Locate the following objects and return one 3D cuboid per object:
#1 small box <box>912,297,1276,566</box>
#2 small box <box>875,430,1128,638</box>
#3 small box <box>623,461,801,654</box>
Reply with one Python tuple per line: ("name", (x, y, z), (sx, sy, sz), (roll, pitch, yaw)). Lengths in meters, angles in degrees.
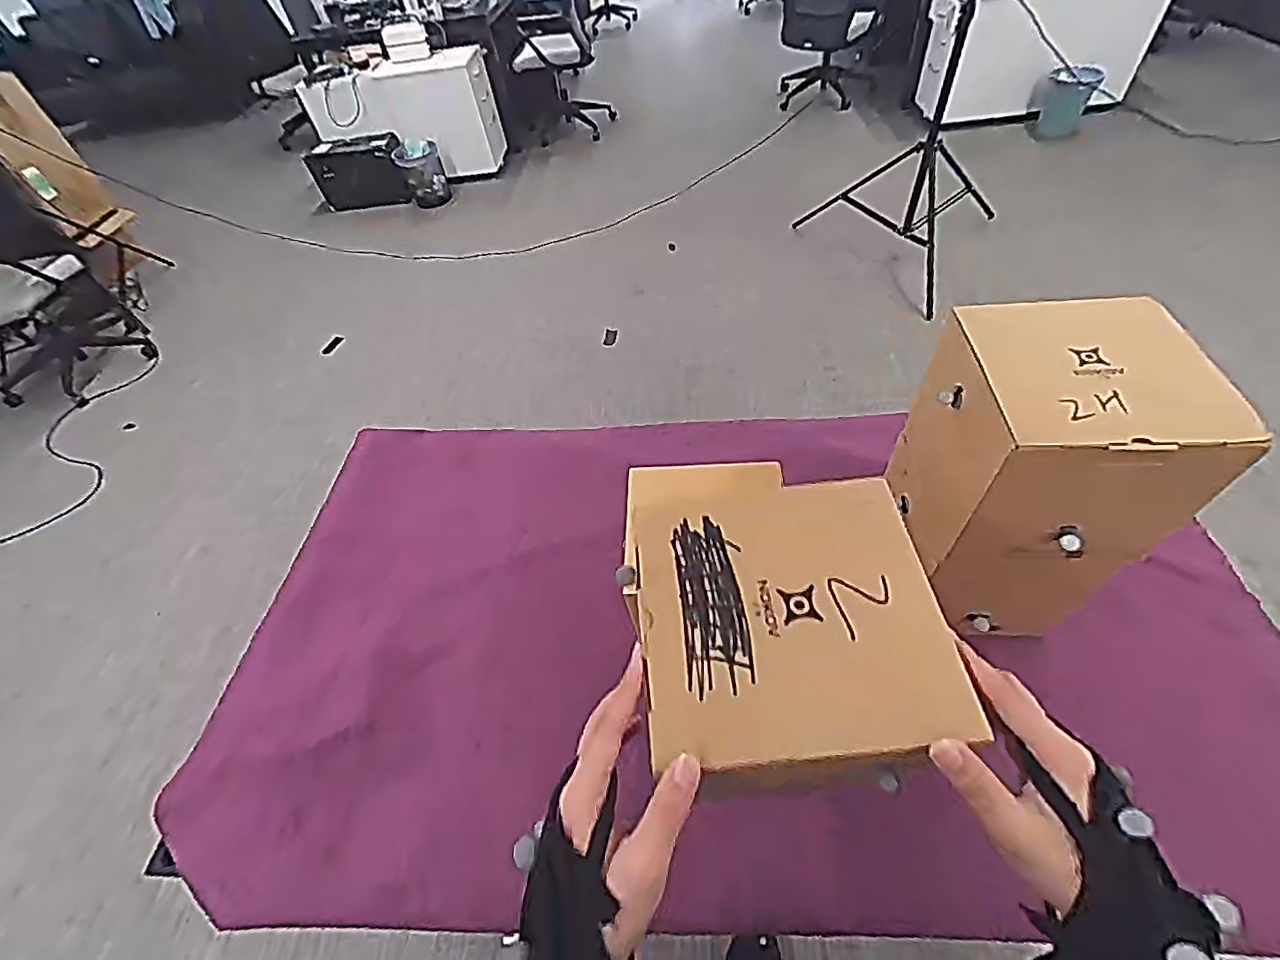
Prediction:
("small box", (0.367, -0.042, 0.490), (0.168, 0.176, 0.179), (0, 51, 9))
("small box", (0.382, 0.061, 0.618), (0.168, 0.176, 0.179), (0, 52, 9))
("small box", (0.081, 0.096, 0.636), (0.179, 0.176, 0.168), (-2, 51, 6))
